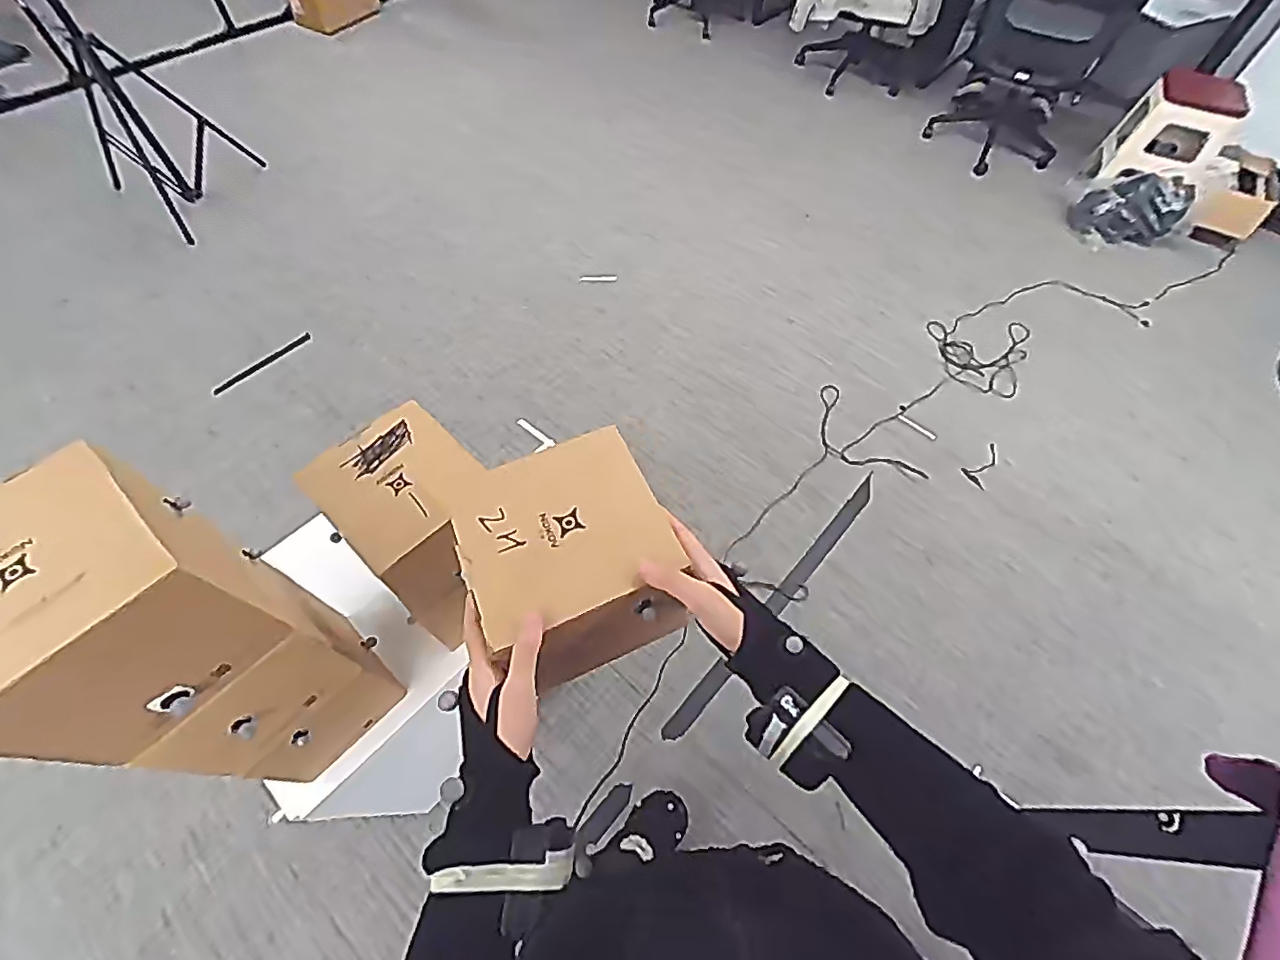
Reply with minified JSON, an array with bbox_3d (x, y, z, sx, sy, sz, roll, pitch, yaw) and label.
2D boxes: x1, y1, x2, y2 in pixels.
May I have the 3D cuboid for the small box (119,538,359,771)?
[{"bbox_3d":[-0.453,0.191,0.597,0.179,0.176,0.168,37,65,19],"label":"small box"}]

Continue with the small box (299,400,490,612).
[{"bbox_3d":[-0.280,0.039,0.690,0.179,0.176,0.168,40,67,19],"label":"small box"}]

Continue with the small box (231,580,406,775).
[{"bbox_3d":[-0.458,0.274,0.736,0.179,0.176,0.168,38,66,21],"label":"small box"}]

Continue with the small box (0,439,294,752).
[{"bbox_3d":[-0.449,0.105,0.459,0.179,0.176,0.168,37,66,18],"label":"small box"}]

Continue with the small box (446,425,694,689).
[{"bbox_3d":[-0.063,0.081,0.532,0.179,0.176,0.168,-22,59,-10],"label":"small box"}]
